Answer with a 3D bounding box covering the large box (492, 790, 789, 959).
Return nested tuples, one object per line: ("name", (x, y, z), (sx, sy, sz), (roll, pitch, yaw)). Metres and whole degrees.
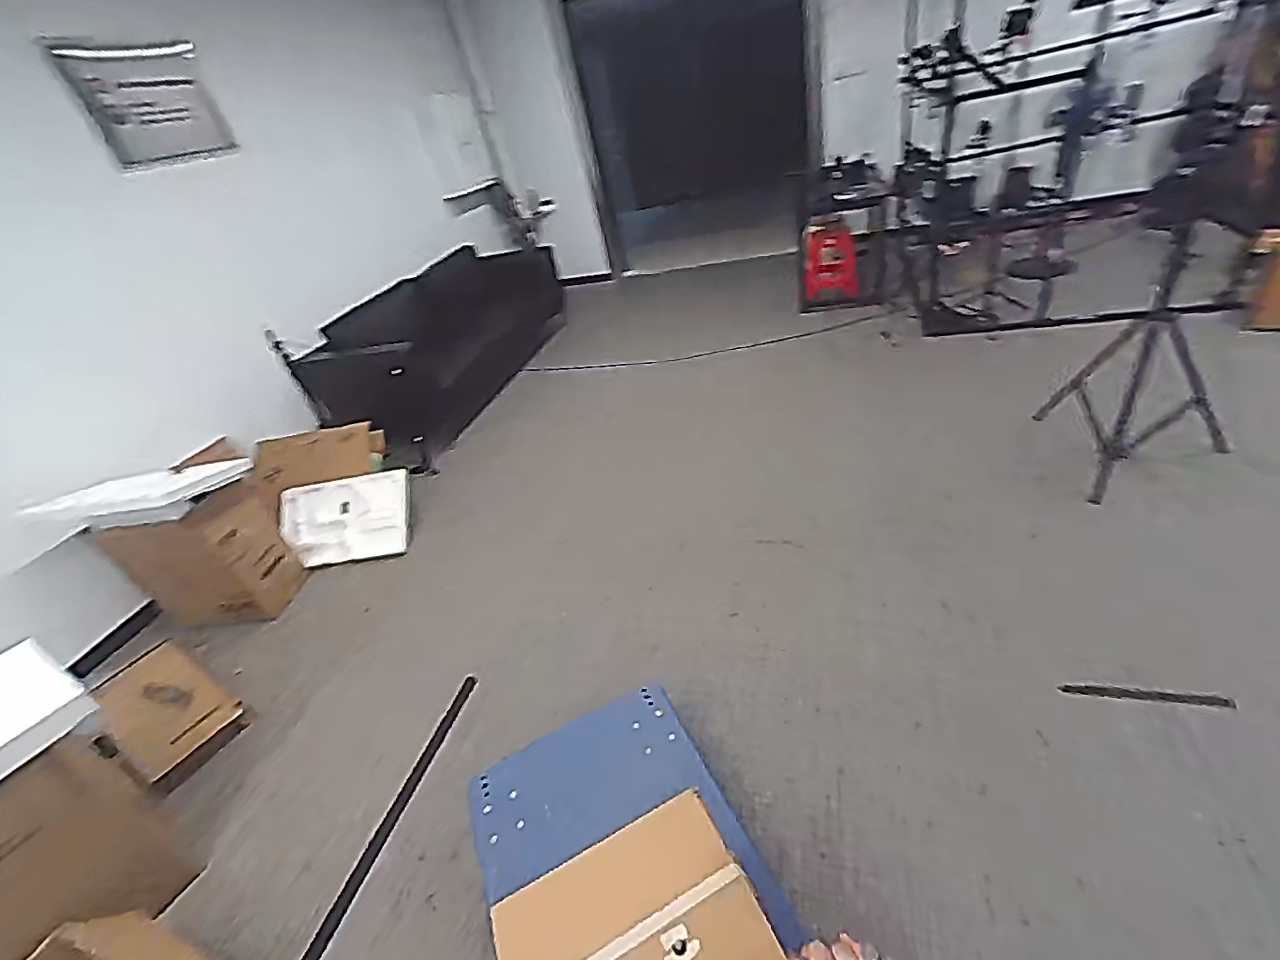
("large box", (0.013, 0.848, 0.929), (0.408, 0.320, 0.320), (-23, 35, -15))
